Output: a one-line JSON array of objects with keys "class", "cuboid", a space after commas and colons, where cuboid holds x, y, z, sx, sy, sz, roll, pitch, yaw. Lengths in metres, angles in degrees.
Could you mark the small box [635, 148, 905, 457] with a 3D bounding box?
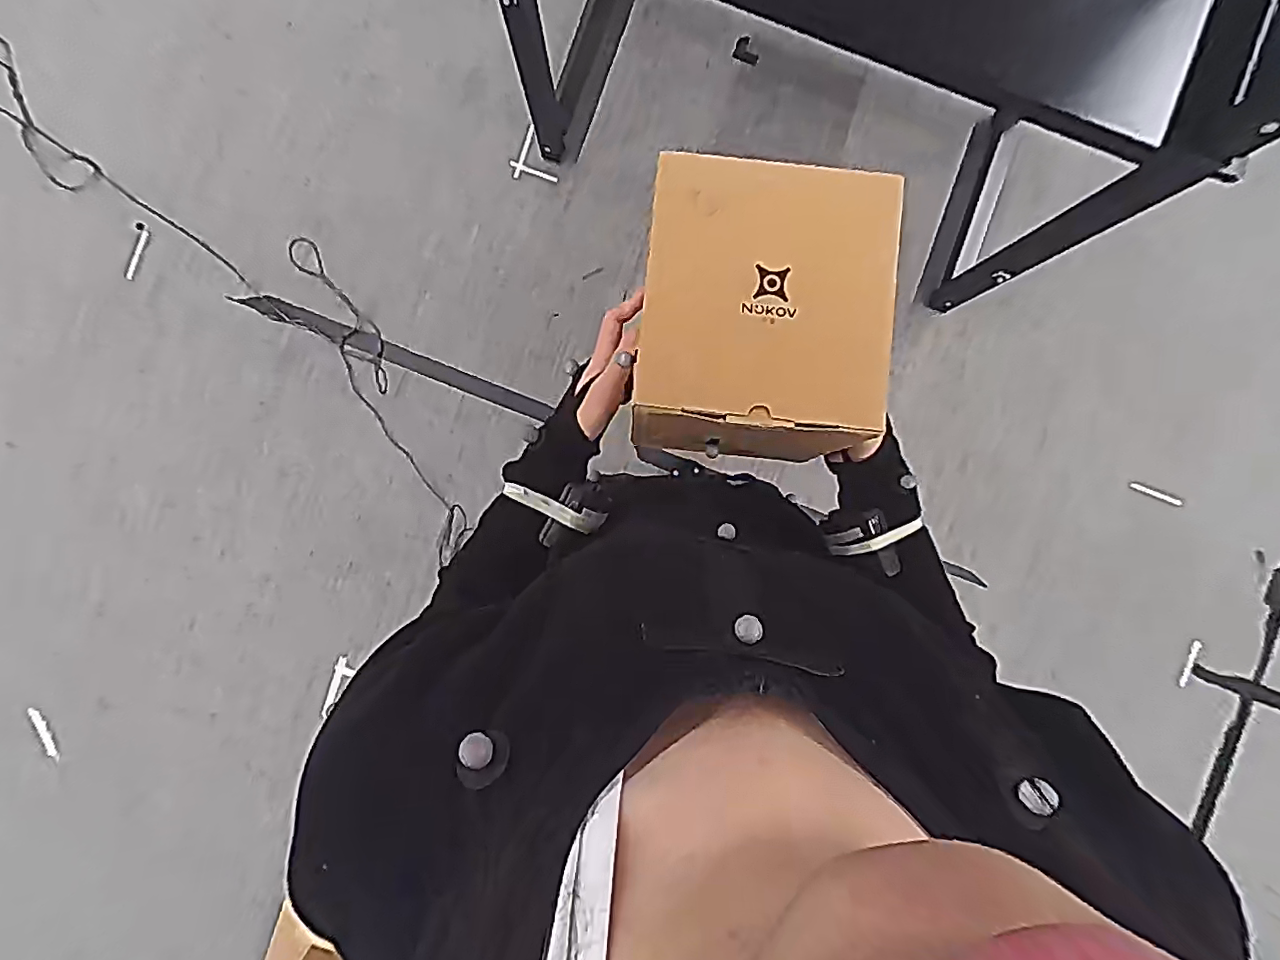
[{"class": "small box", "cuboid": [0.085, -0.120, 0.432, 0.168, 0.176, 0.179, 5, 87, -1]}]
